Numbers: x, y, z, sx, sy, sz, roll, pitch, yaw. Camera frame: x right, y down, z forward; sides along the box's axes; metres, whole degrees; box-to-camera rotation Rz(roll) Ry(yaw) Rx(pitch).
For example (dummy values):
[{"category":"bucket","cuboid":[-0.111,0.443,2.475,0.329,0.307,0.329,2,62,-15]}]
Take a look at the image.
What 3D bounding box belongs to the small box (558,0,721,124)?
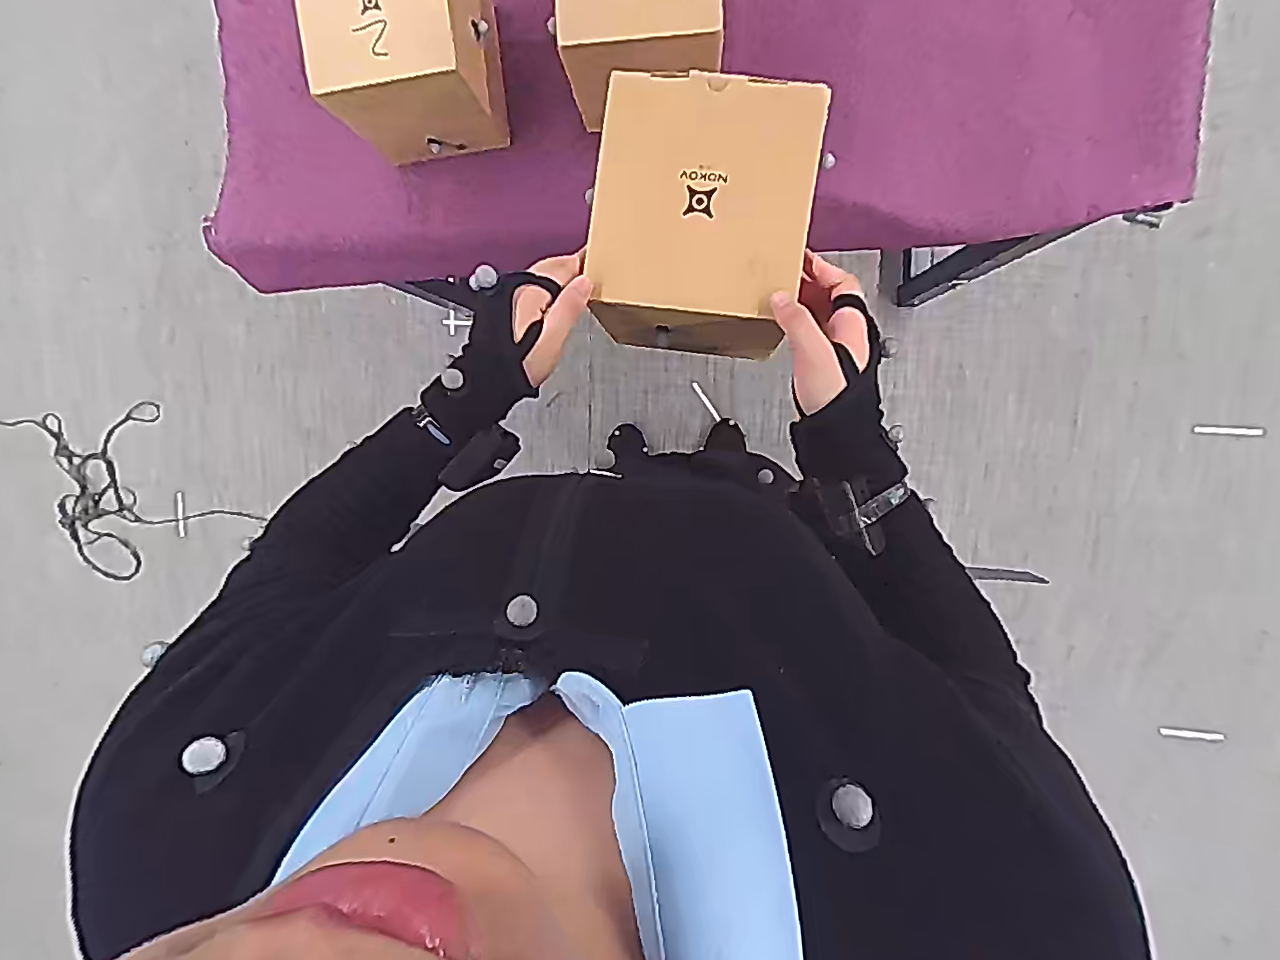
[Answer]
[{"category":"small box","cuboid":[0.006,-0.528,0.605,0.168,0.176,0.179,-1,96,4]}]
